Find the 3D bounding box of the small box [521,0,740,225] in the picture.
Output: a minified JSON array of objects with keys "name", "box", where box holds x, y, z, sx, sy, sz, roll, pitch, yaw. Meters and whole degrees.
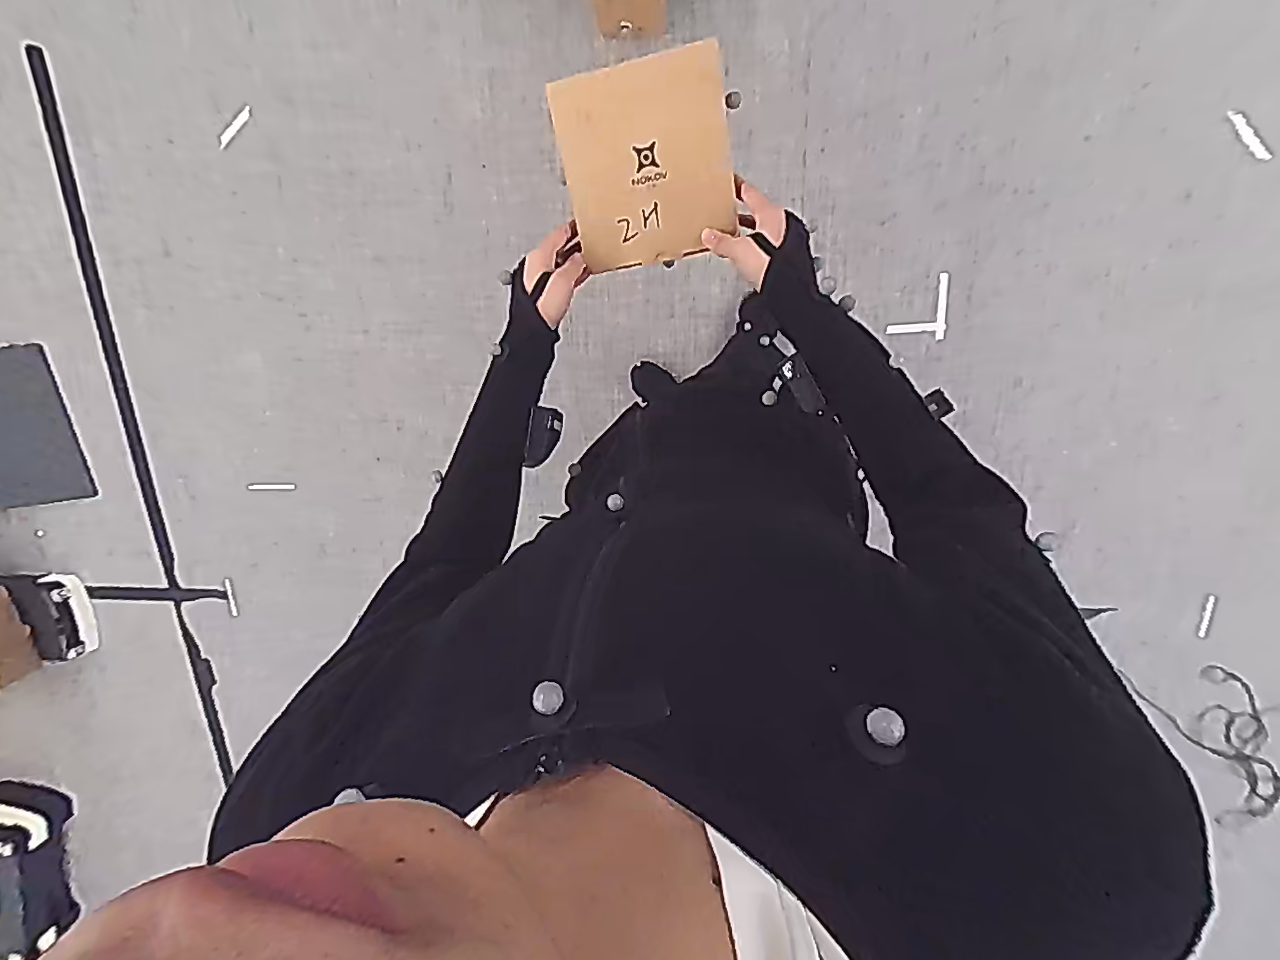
[{"name":"small box","box":[0.002,-0.362,0.531,0.168,0.176,0.179,-7,118,9]}]
